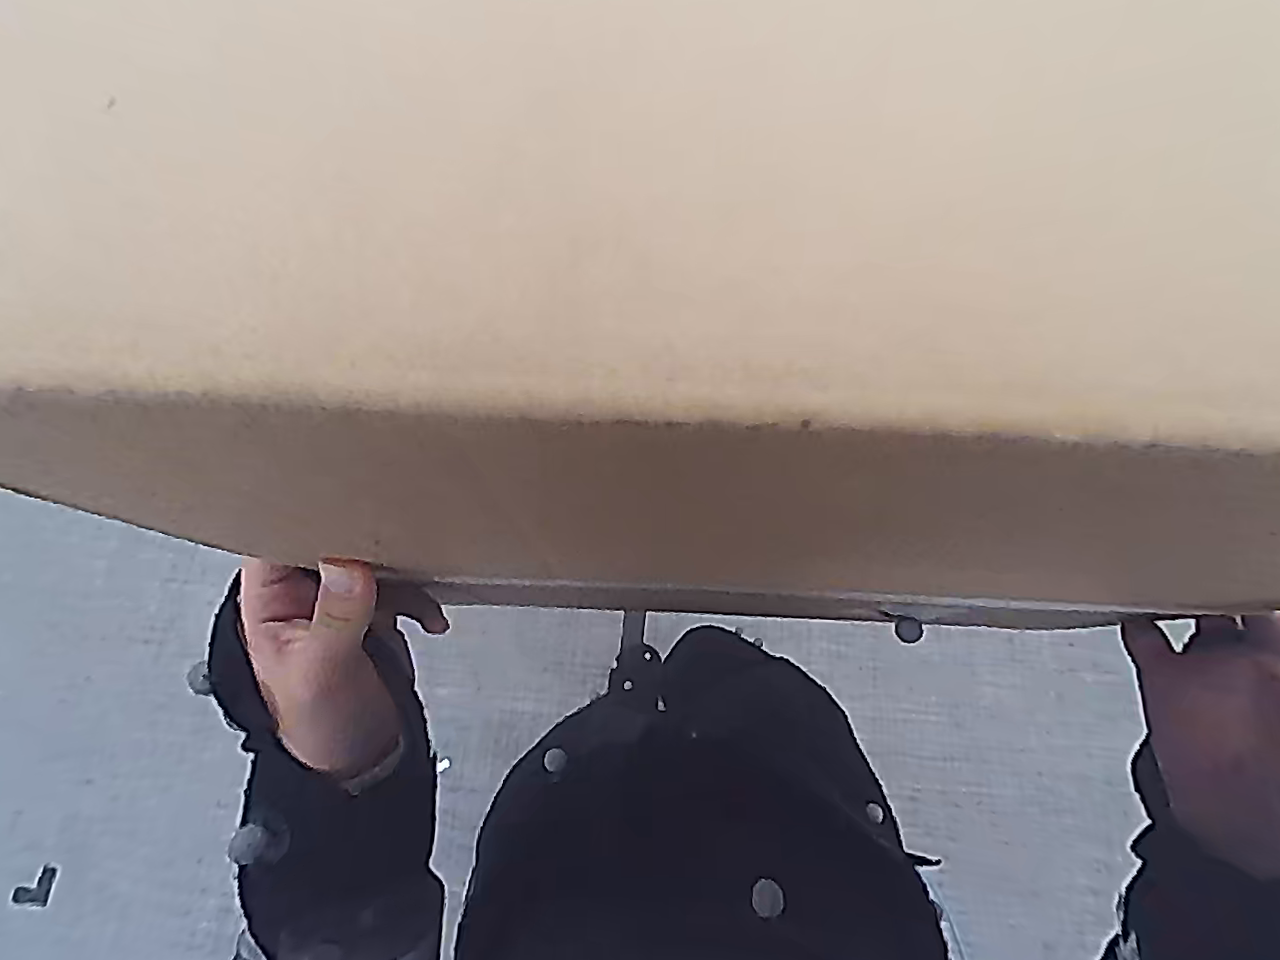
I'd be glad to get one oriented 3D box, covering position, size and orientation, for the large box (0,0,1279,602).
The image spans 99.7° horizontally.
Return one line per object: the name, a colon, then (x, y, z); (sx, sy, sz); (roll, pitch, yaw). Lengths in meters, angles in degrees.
large box: (0.068, -0.115, 0.272); (0.408, 0.320, 0.320); (2, 73, -1)
